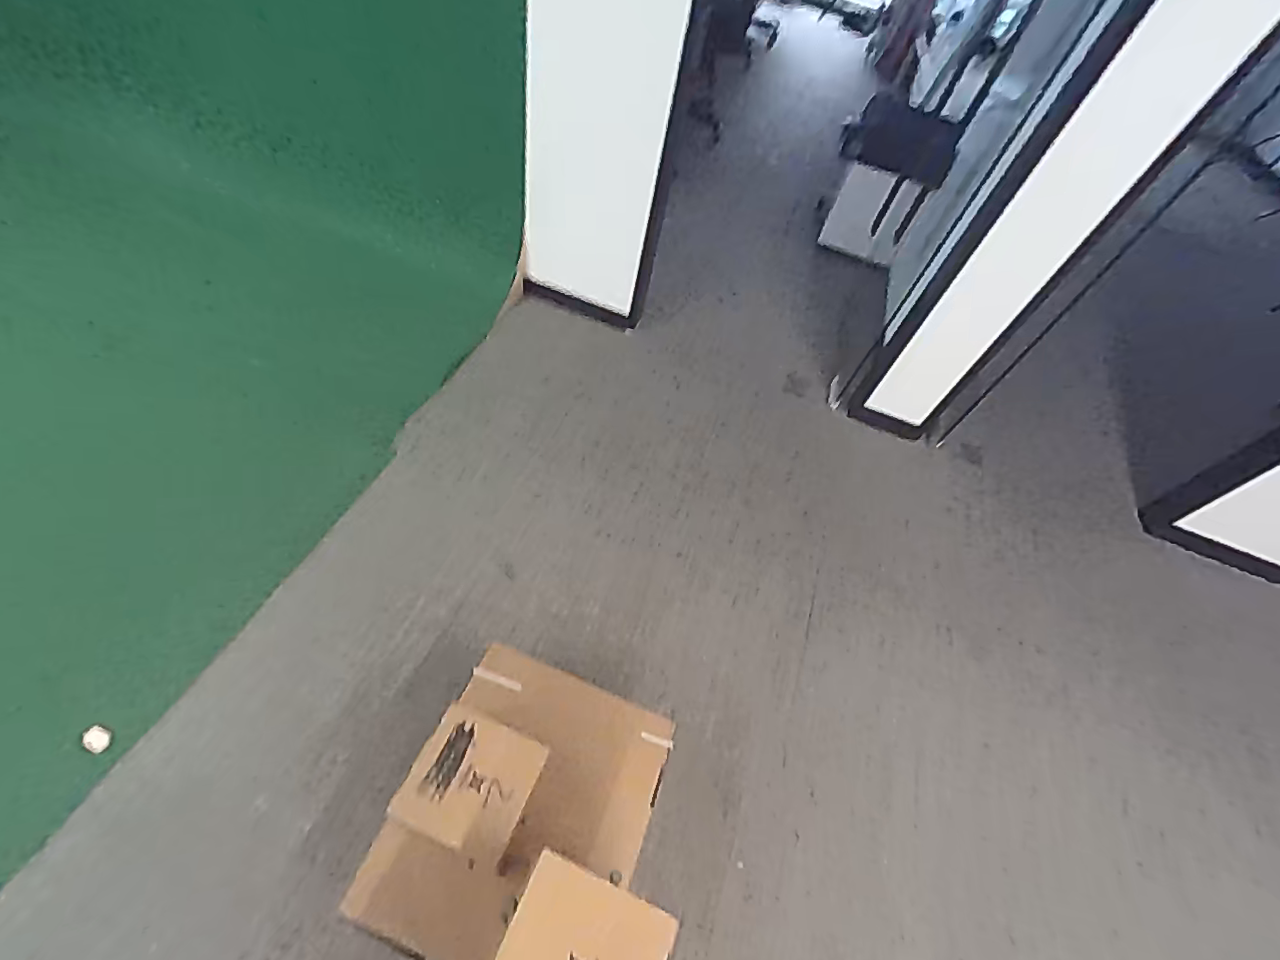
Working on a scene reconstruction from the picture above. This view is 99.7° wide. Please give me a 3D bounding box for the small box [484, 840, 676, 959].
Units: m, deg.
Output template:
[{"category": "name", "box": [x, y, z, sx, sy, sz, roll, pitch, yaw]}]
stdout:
[{"category": "small box", "box": [-0.083, 0.558, 0.634, 0.179, 0.176, 0.168, 25, 51, 4]}]
